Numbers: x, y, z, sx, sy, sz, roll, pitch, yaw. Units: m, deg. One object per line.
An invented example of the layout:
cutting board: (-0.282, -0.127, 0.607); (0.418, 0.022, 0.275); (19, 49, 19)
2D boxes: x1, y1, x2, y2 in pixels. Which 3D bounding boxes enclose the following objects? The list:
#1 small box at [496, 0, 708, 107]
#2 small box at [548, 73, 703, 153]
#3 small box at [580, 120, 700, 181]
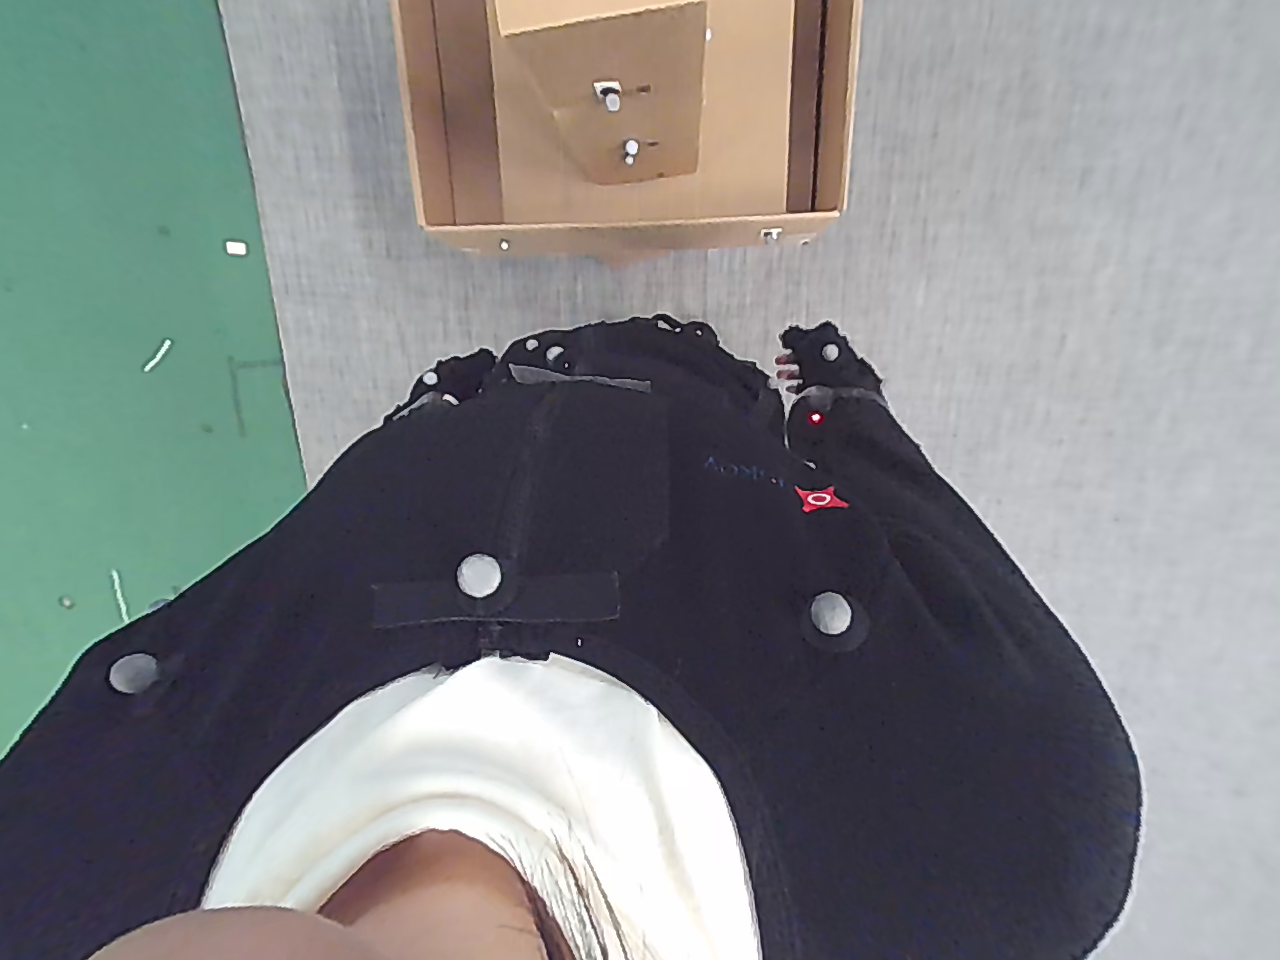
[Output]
small box: (-0.031, -0.464, 0.469); (0.168, 0.176, 0.179); (-4, 106, 7)
small box: (-0.018, -0.509, 0.624); (0.168, 0.176, 0.179); (-4, 106, 6)
small box: (-0.002, -0.558, 0.780); (0.168, 0.176, 0.179); (-4, 105, 8)
